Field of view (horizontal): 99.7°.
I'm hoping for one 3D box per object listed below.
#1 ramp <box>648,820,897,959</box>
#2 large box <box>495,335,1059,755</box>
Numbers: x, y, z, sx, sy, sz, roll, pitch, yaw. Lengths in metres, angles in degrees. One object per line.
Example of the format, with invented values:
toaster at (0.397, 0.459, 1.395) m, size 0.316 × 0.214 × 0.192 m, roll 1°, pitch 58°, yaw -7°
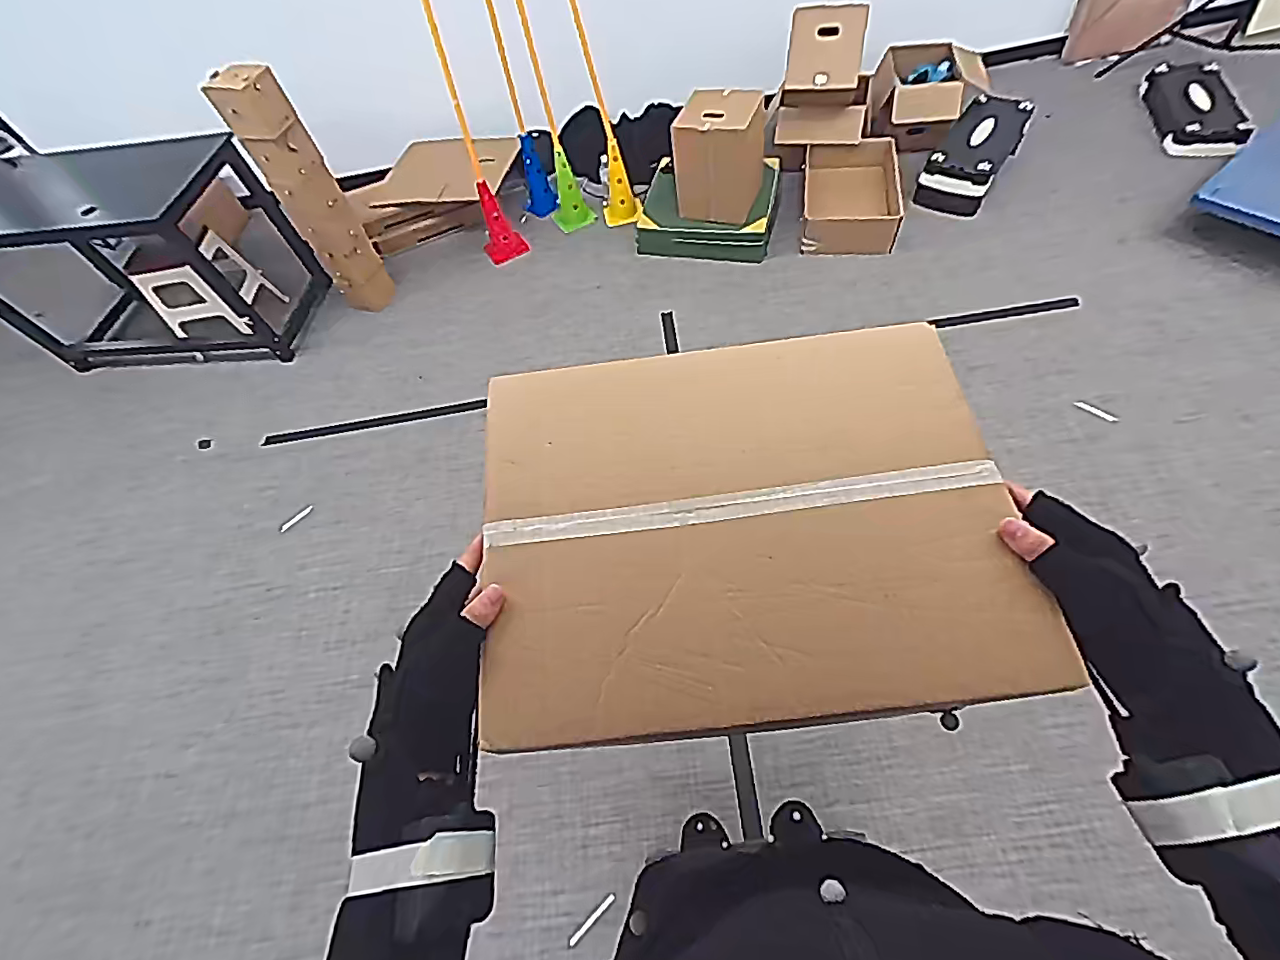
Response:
ramp at (0.319, 1.245, 1.024) m, size 0.509 × 0.206 × 0.991 m, roll -10°, pitch 58°, yaw 1°
large box at (0.092, 0.092, 0.572) m, size 0.408 × 0.320 × 0.320 m, roll -7°, pitch 63°, yaw 2°
